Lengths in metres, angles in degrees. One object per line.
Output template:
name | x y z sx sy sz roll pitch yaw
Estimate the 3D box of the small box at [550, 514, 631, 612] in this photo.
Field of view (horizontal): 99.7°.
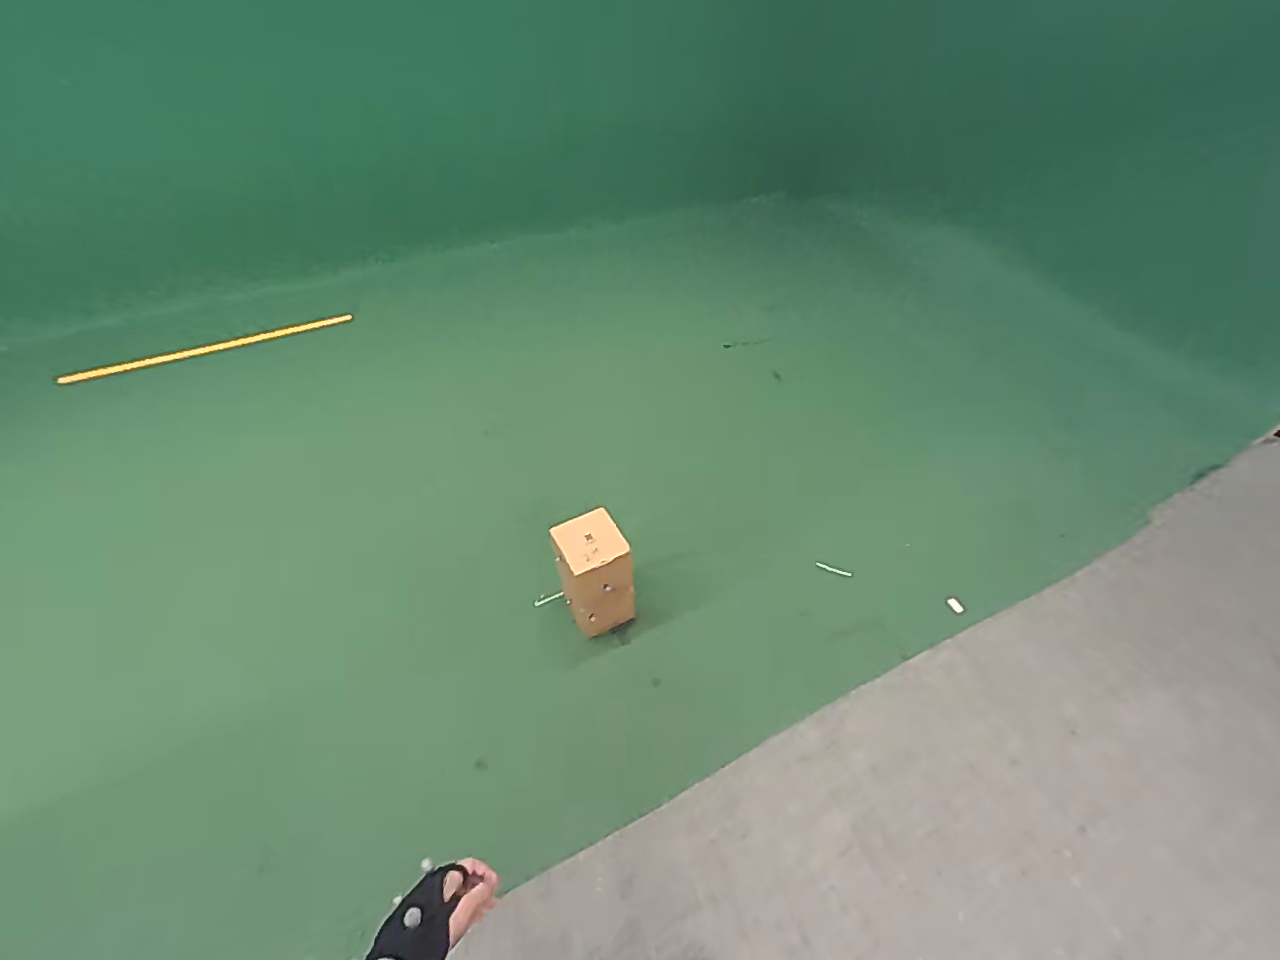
small box | -0.137 0.231 1.501 0.168 0.176 0.179 -22 50 -19
